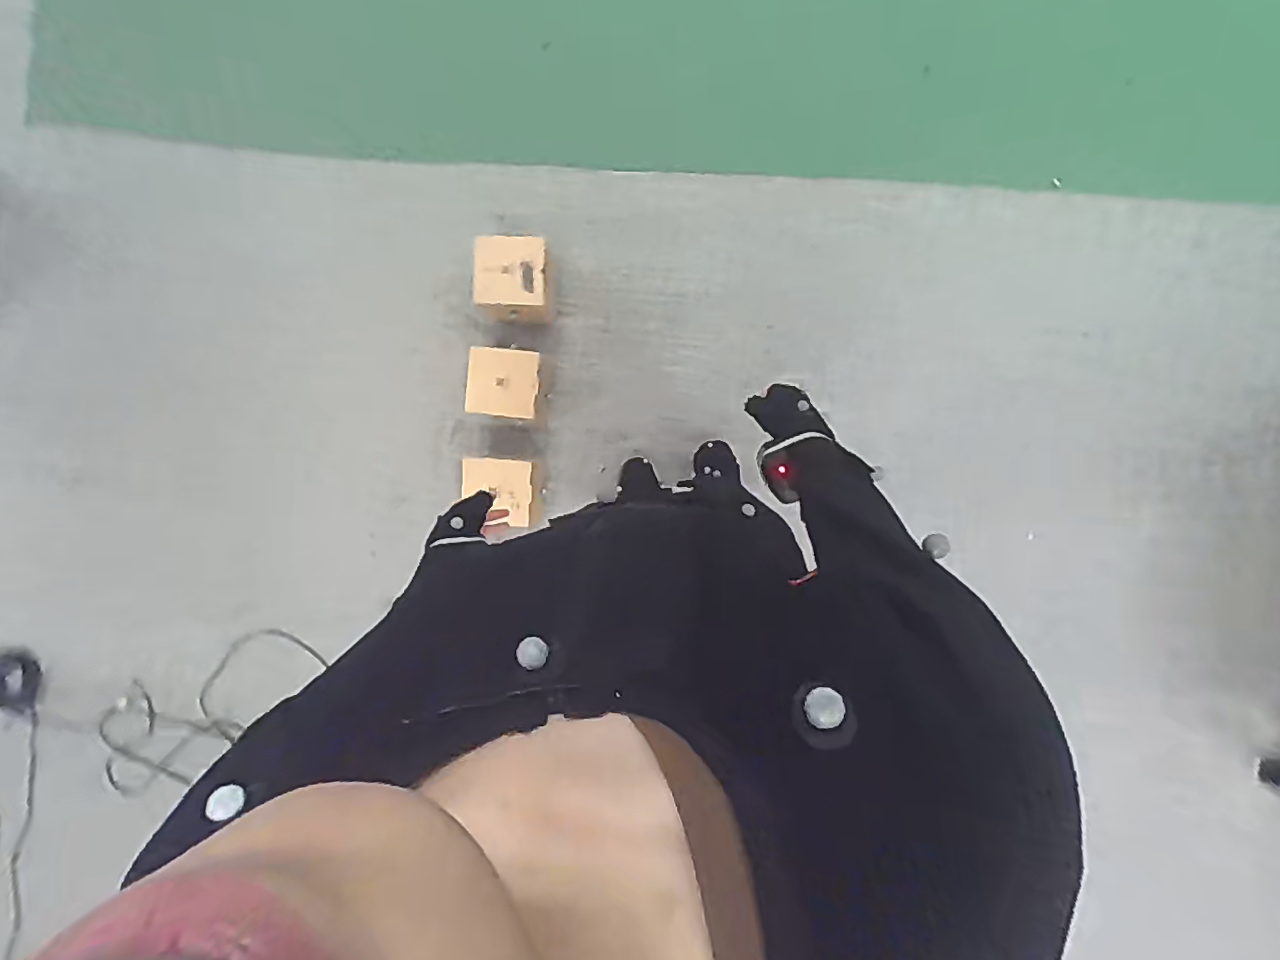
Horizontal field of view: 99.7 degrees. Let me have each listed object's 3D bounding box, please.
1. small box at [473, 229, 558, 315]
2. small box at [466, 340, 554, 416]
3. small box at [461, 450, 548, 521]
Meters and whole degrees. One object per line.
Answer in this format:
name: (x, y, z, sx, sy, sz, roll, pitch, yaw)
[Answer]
small box: (-0.311, -0.525, 1.384, 0.179, 0.176, 0.168, 3, 93, 4)
small box: (-0.331, -0.257, 1.402, 0.179, 0.176, 0.168, 6, 94, 3)
small box: (-0.350, 0.010, 1.416, 0.179, 0.176, 0.168, 4, 95, 3)
